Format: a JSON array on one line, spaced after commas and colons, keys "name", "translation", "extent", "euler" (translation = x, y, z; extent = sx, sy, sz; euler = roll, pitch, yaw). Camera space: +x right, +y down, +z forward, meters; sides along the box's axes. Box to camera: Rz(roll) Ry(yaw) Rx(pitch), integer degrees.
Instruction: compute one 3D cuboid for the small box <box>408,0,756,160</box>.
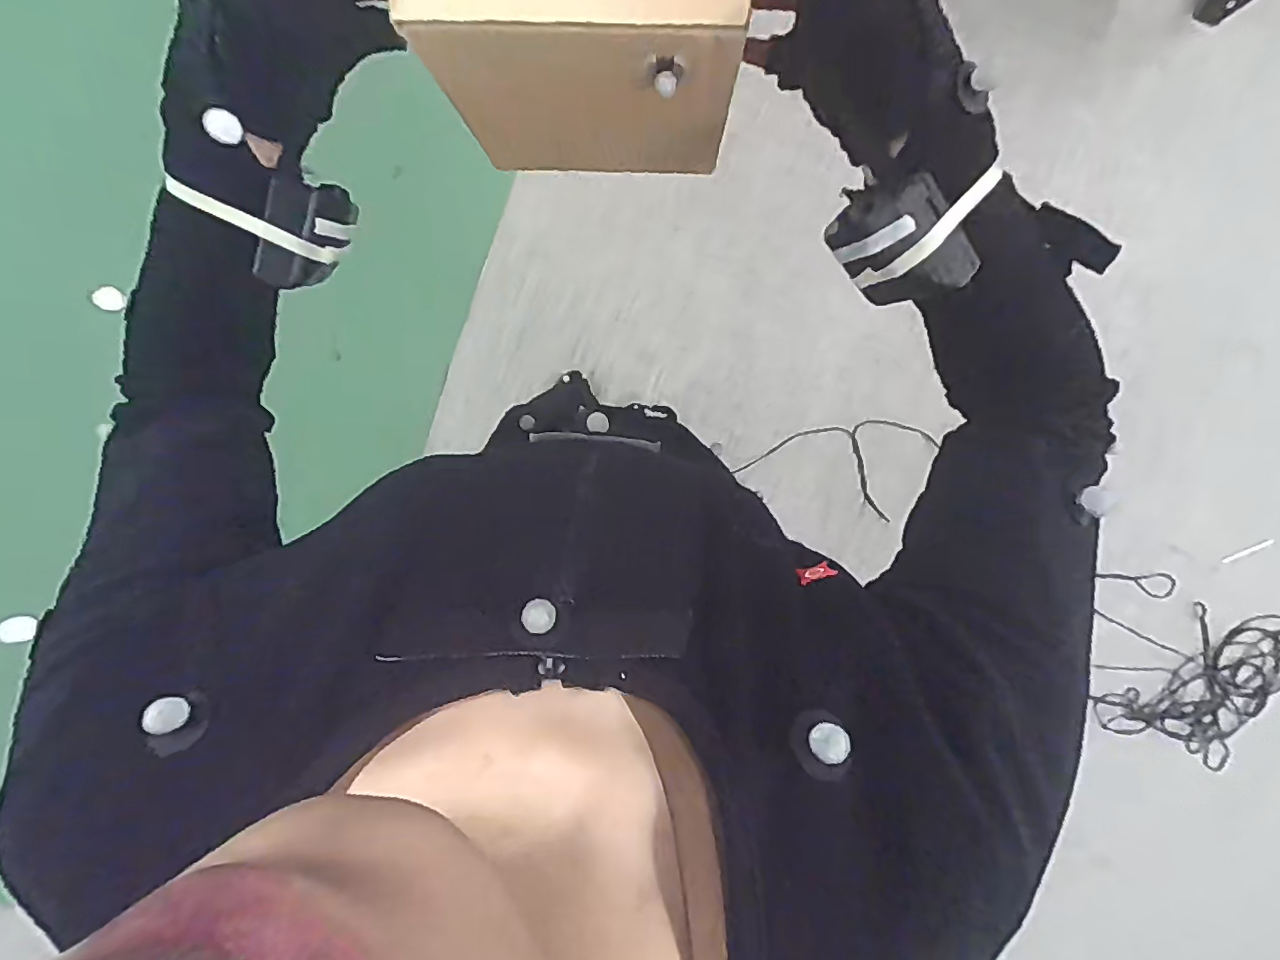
[{"name": "small box", "translation": [-0.025, -0.320, 0.334], "extent": [0.179, 0.176, 0.168], "euler": [1, 99, 0]}]
